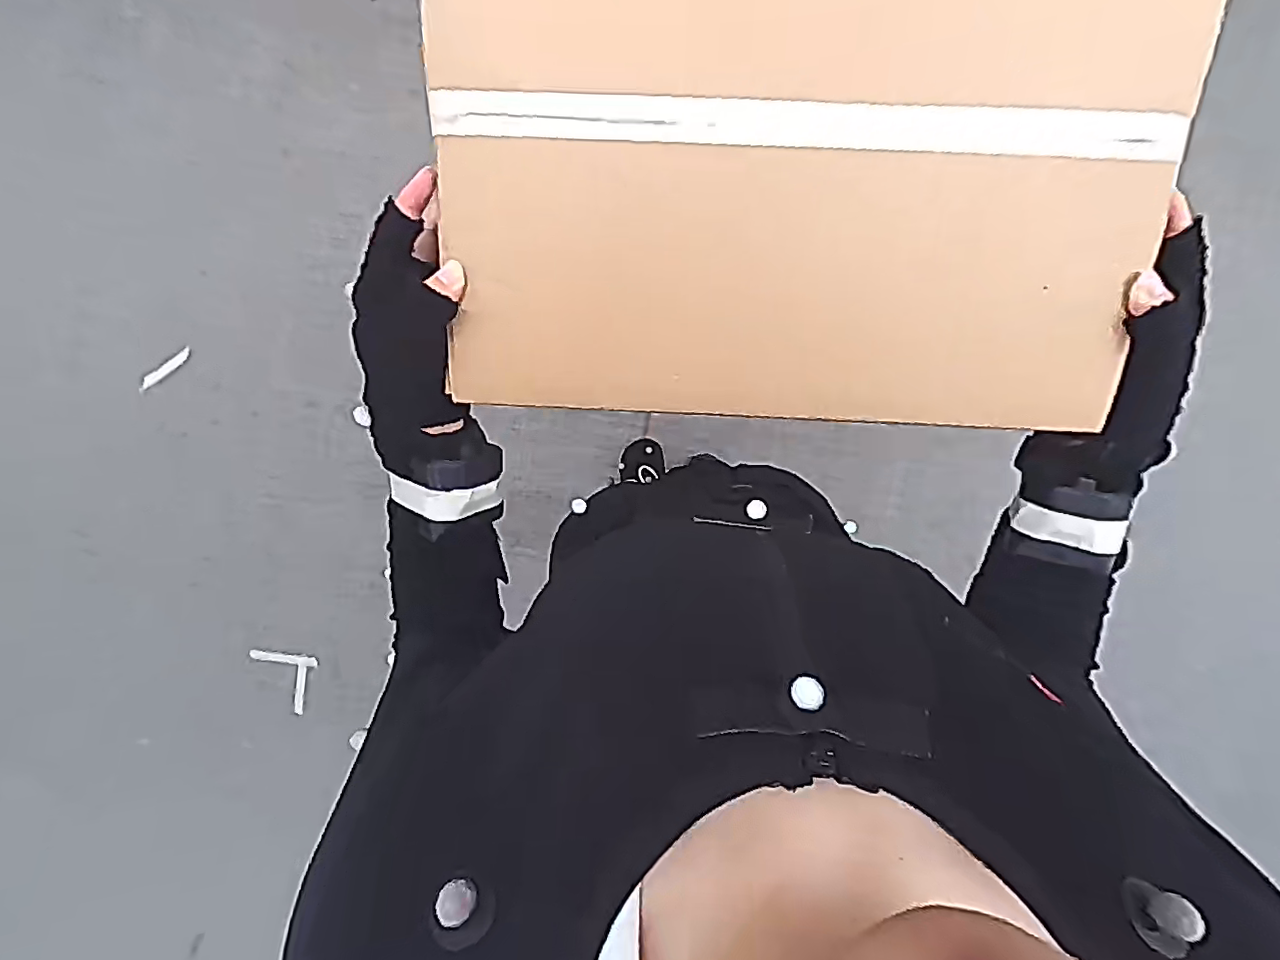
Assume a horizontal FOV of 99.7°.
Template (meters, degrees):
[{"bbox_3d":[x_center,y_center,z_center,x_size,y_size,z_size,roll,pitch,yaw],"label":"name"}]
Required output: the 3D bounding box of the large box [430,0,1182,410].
[{"bbox_3d":[0.084,-0.237,0.448,0.408,0.320,0.320,2,107,0],"label":"large box"}]
